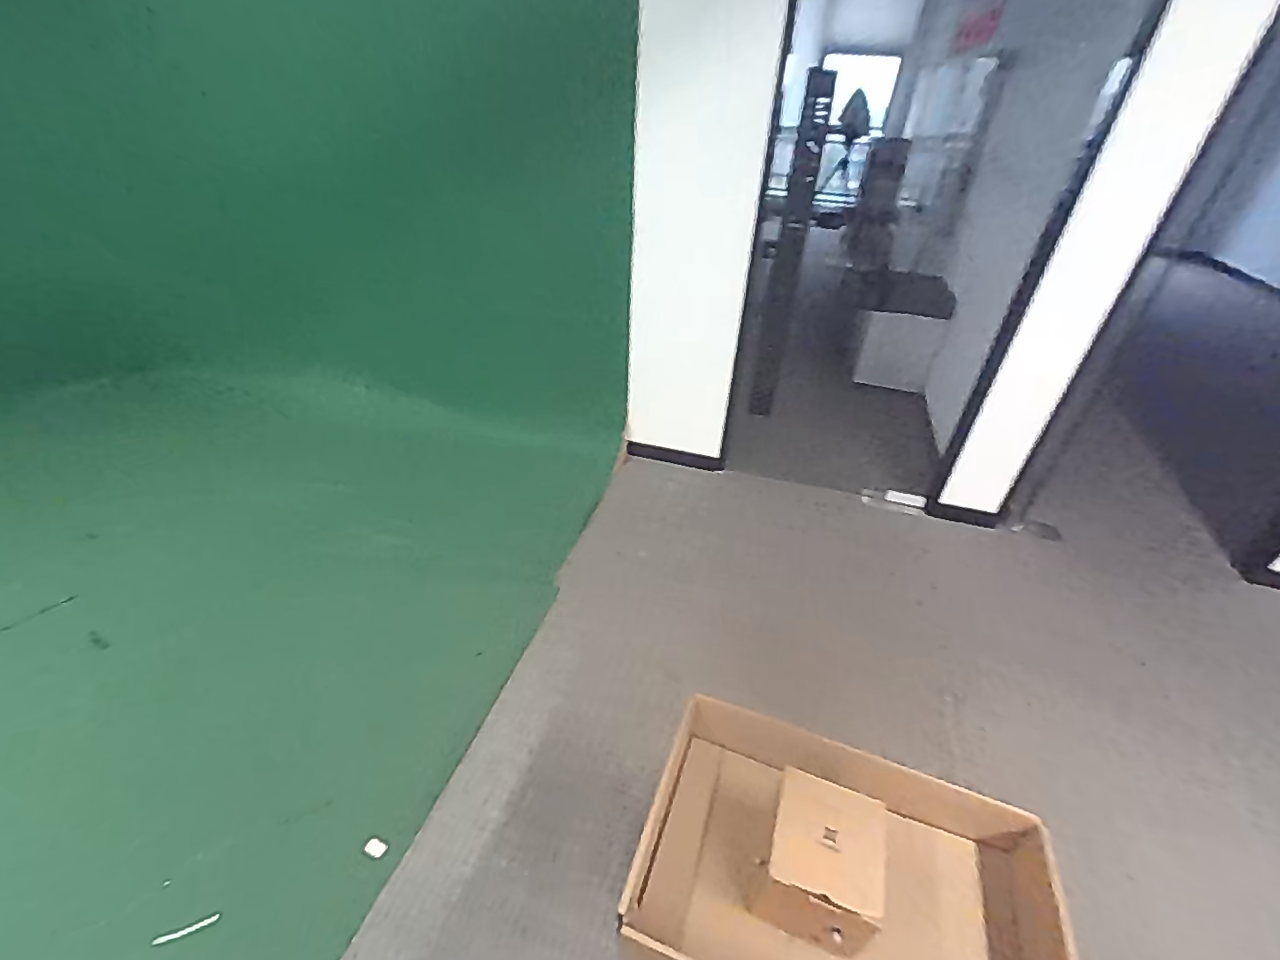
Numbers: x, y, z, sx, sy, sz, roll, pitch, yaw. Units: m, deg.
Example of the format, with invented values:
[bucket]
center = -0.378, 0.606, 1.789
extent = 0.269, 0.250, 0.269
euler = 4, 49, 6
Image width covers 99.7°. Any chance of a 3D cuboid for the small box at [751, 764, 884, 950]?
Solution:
[small box]
center = 0.287, 0.617, 0.887
extent = 0.168, 0.176, 0.179
euler = 16, 36, 13
